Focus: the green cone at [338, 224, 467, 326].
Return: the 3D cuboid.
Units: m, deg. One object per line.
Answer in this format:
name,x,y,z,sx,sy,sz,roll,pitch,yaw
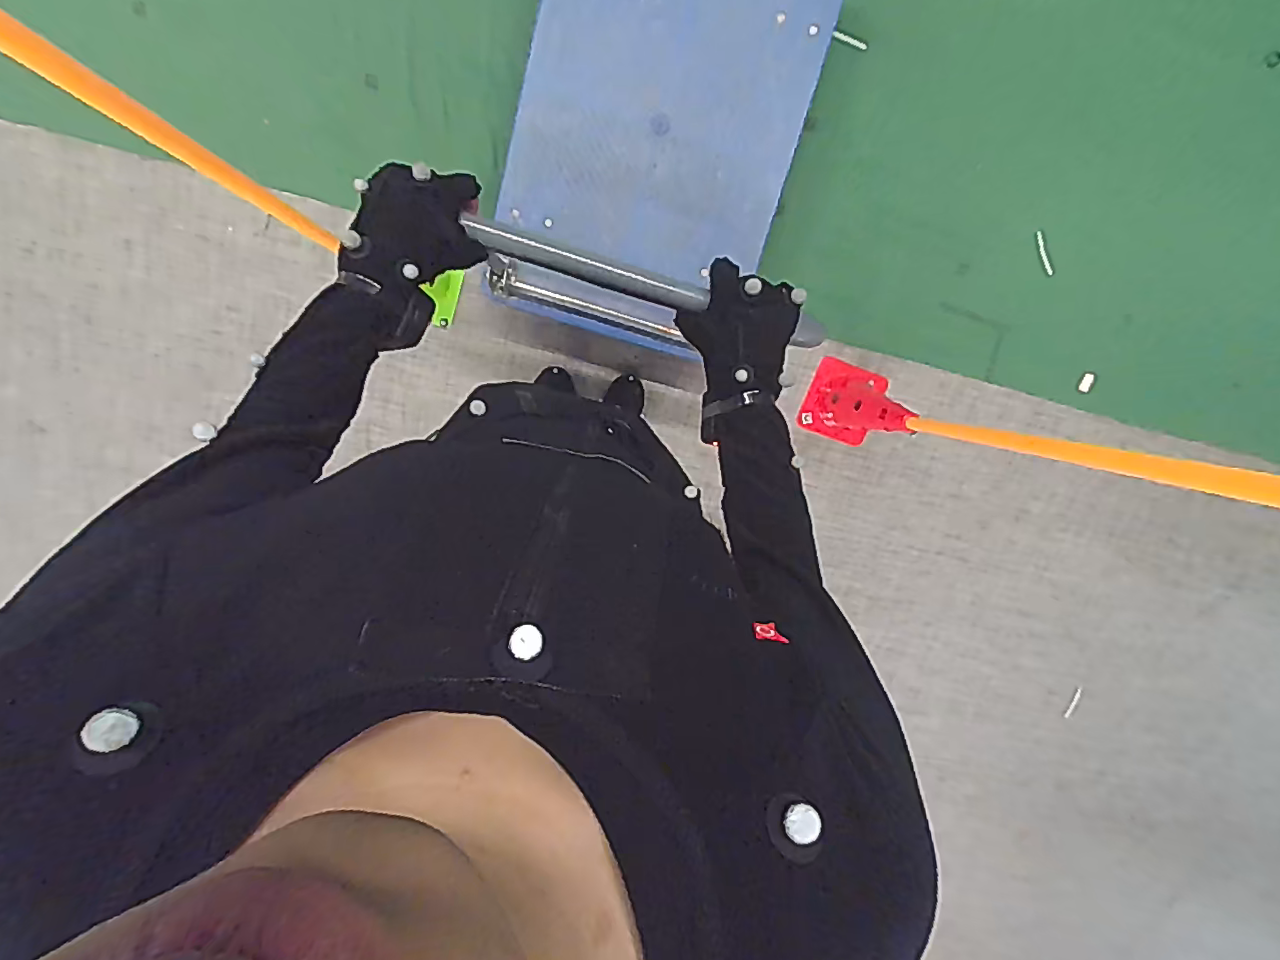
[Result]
green cone,-0.538,-0.464,1.170,0.202,0.368,0.200,18,102,-6
